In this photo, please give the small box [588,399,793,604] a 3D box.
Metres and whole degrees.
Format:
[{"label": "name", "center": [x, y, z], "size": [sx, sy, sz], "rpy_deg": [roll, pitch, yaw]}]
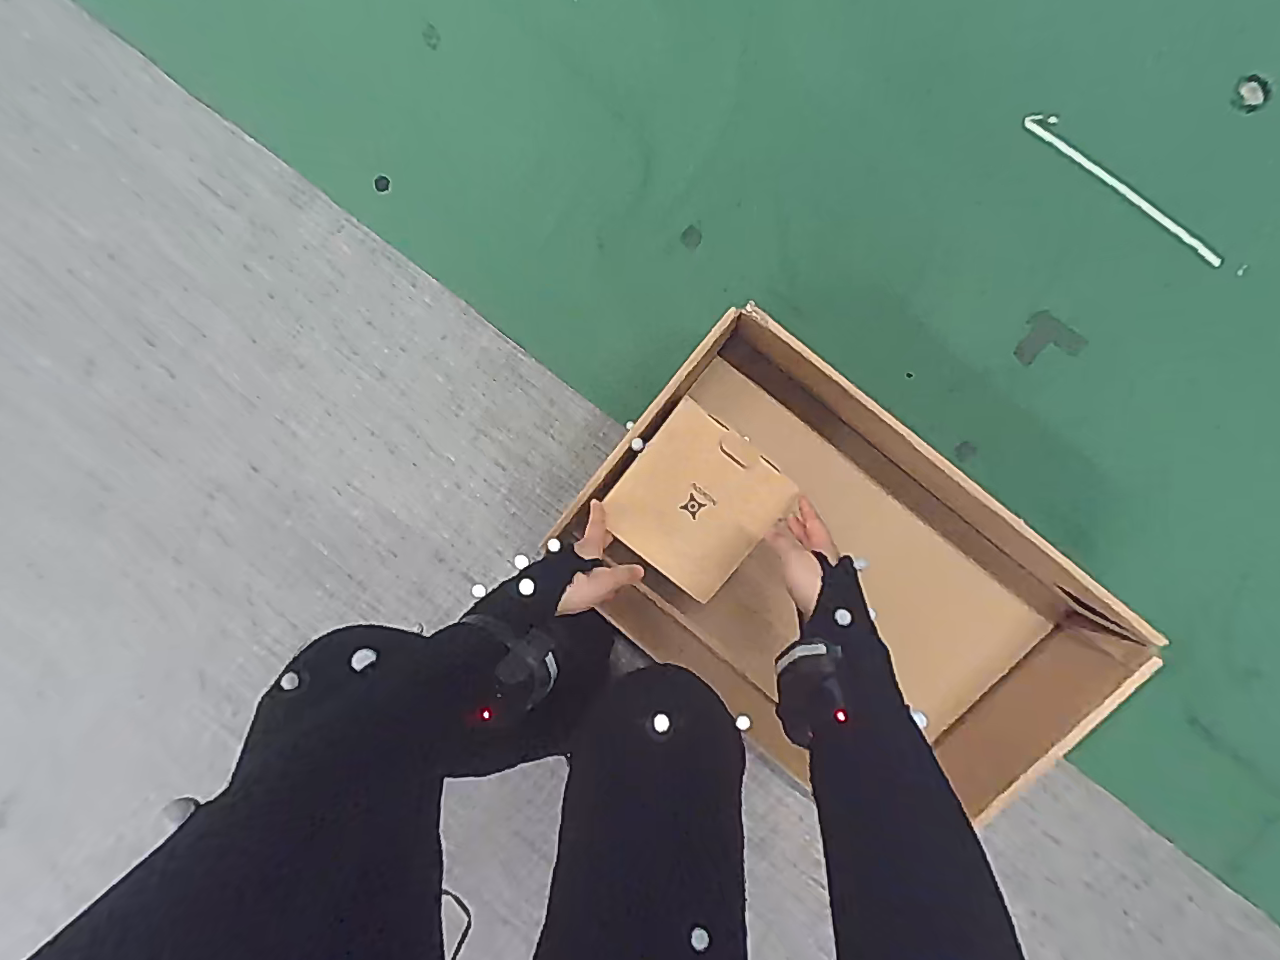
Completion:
[{"label": "small box", "center": [0.061, 0.018, 0.680], "size": [0.168, 0.176, 0.179], "rpy_deg": [37, 97, -1]}]
